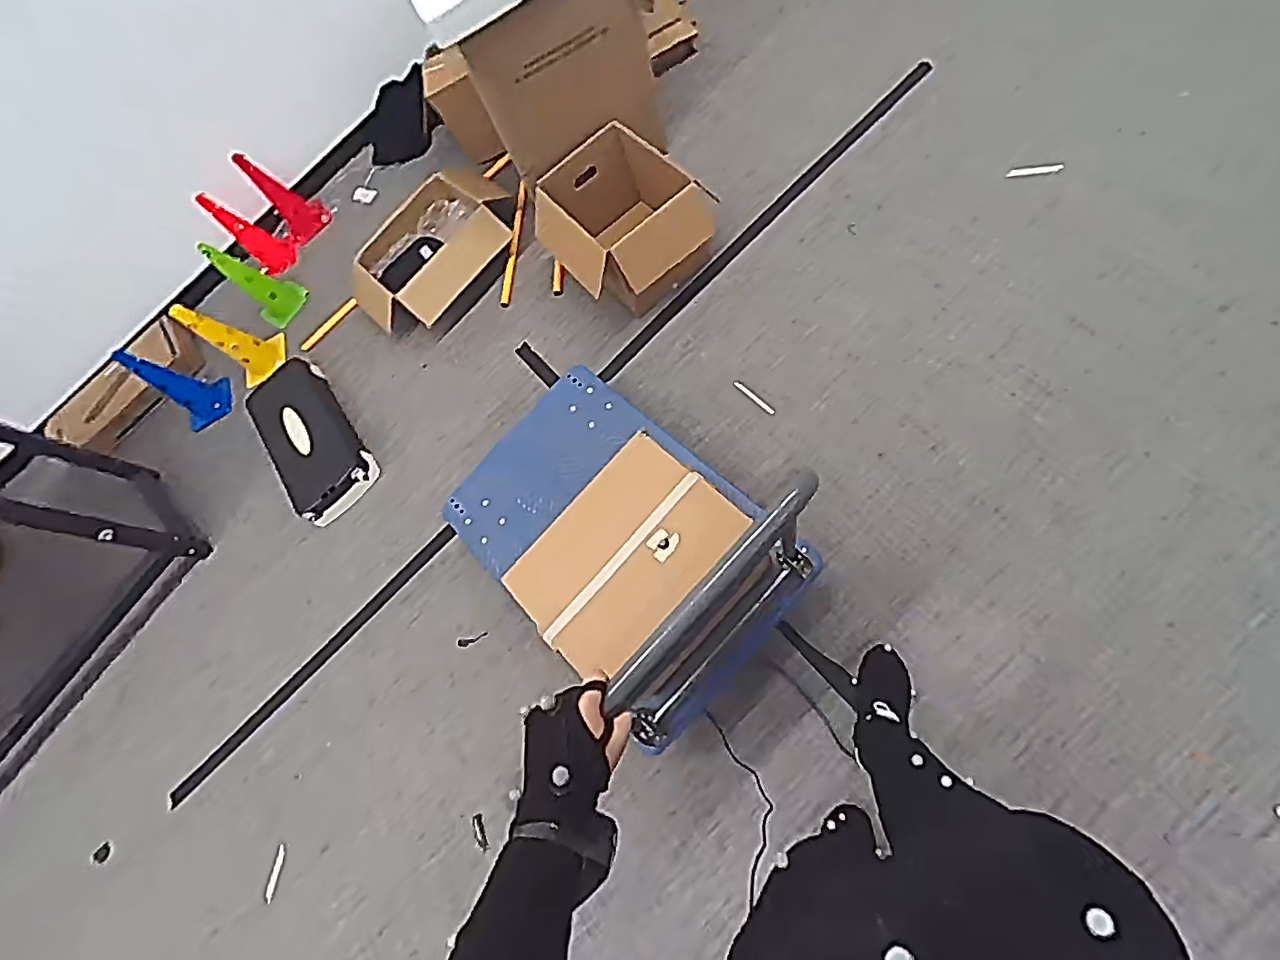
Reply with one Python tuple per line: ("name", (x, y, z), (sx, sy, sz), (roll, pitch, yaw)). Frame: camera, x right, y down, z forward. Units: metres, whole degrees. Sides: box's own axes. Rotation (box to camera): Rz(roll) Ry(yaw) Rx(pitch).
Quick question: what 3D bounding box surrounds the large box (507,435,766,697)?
("large box", (0.011, 0.194, 1.138), (0.320, 0.320, 0.408), (41, 86, 25))
